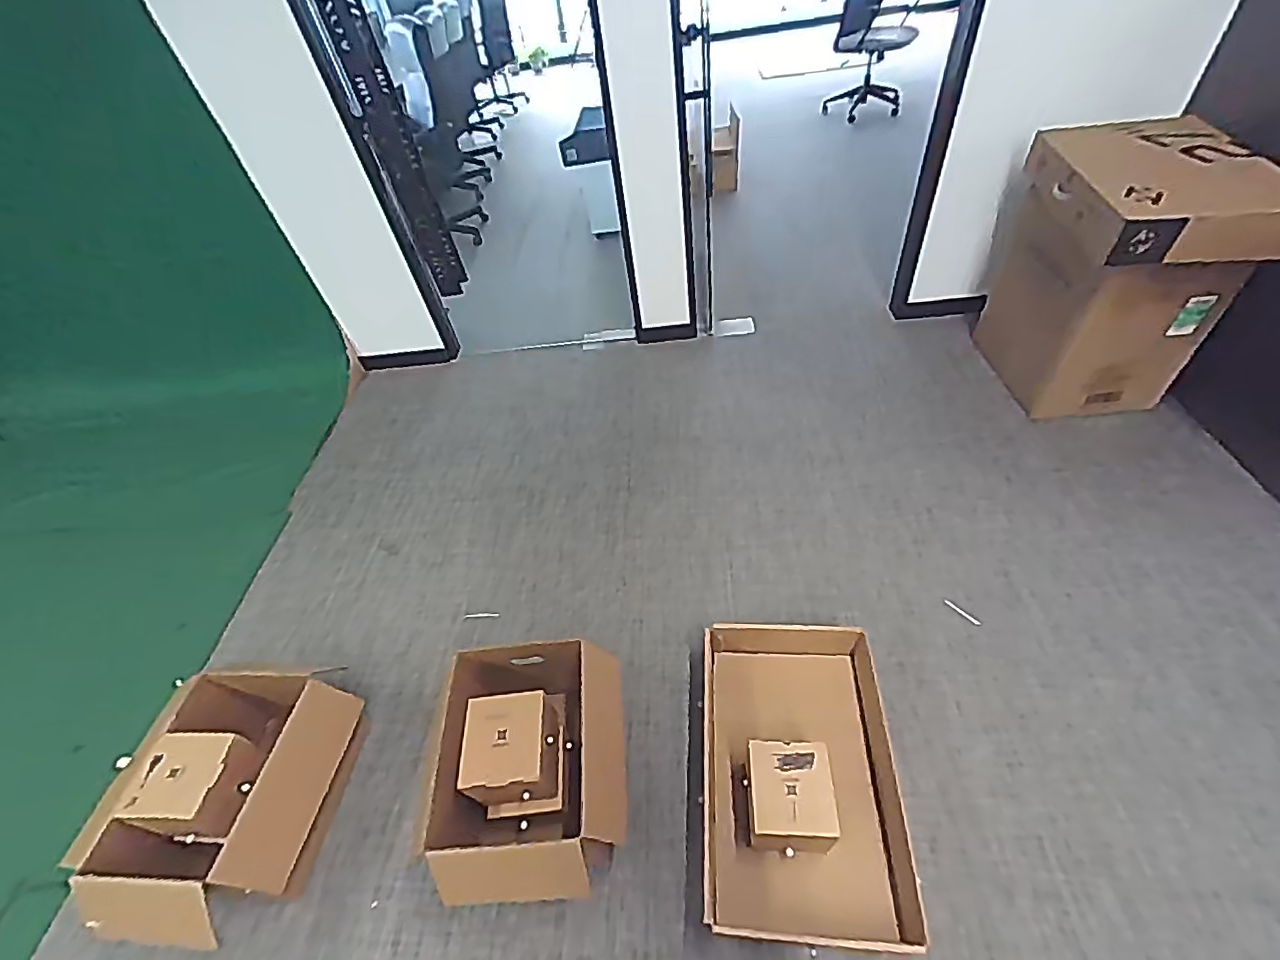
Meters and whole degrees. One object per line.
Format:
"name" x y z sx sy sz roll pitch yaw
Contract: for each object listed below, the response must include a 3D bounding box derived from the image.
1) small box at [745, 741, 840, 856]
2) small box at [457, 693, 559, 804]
"small box" 0.315 0.681 1.156 0.168 0.176 0.179 -2 47 7
"small box" -0.273 0.581 1.160 0.168 0.176 0.179 -7 49 2
